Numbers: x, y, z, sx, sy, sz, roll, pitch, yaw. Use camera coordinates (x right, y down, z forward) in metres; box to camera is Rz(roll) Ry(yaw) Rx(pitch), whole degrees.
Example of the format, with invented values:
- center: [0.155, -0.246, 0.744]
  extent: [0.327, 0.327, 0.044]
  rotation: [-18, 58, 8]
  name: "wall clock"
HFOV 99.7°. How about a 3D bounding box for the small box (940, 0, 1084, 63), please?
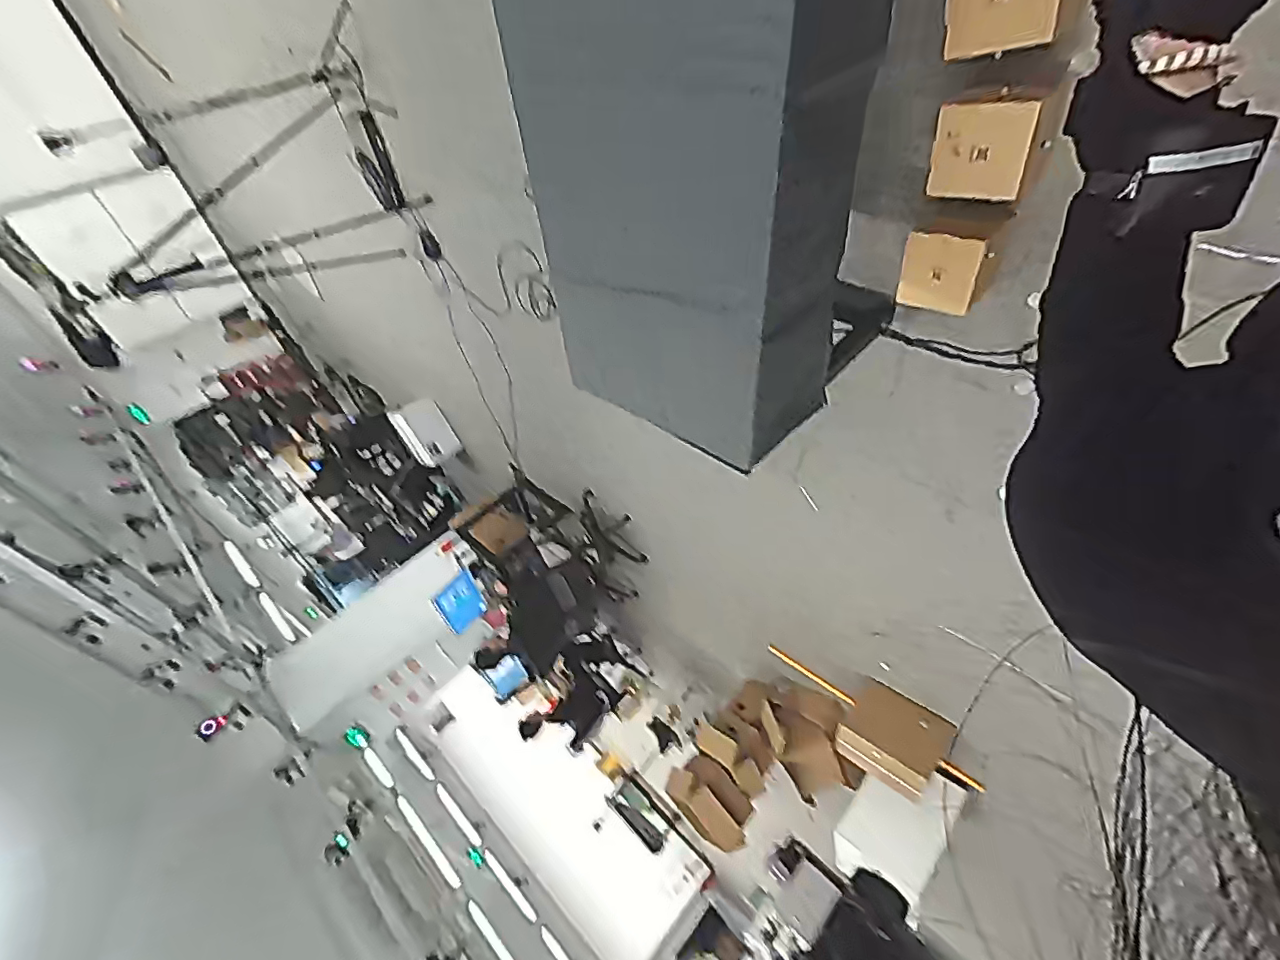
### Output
- center: [0.664, -0.867, 0.954]
  extent: [0.179, 0.176, 0.168]
  rotation: [24, 144, 41]
  name: "small box"
